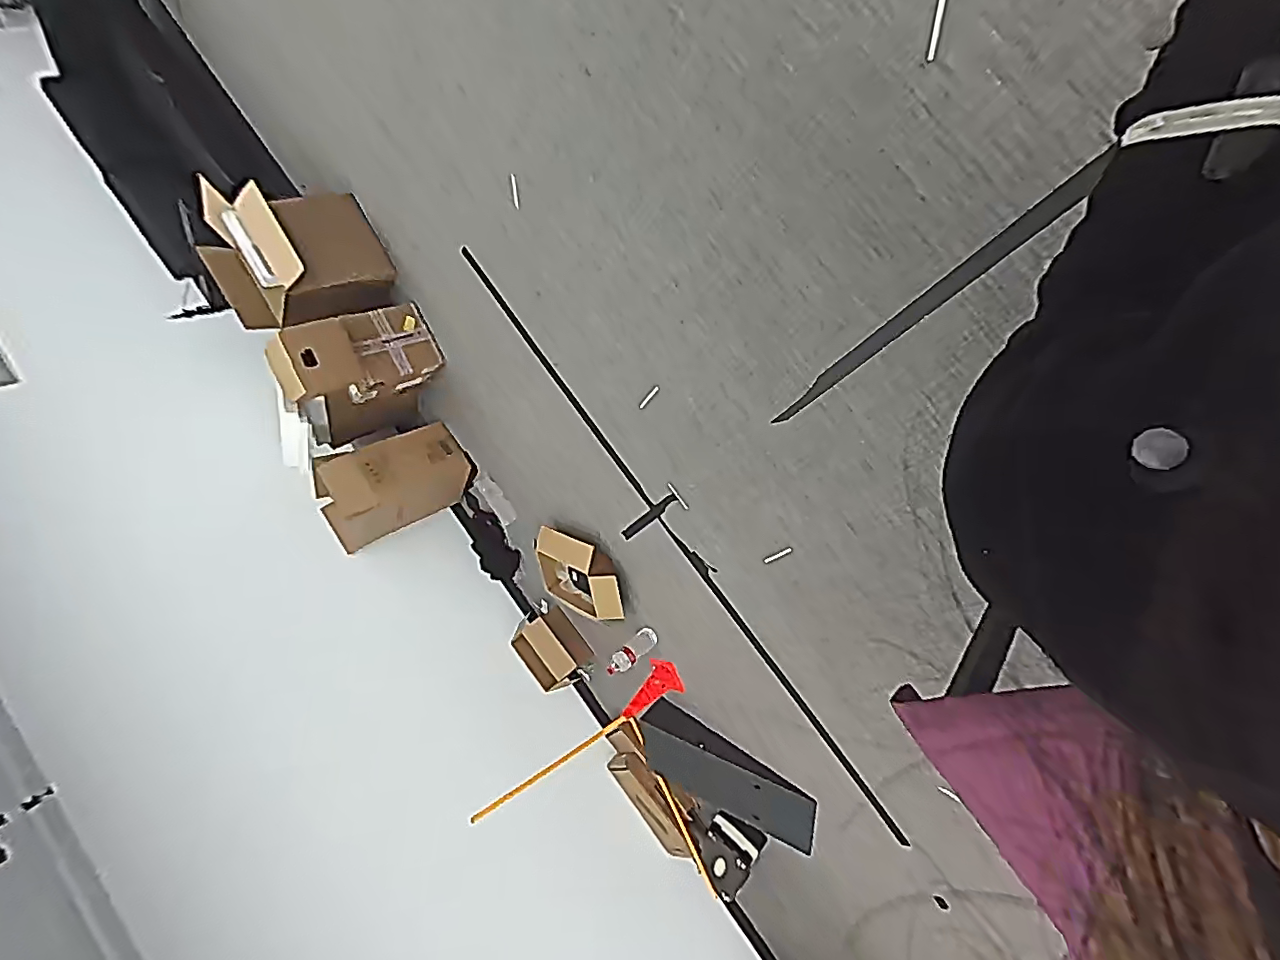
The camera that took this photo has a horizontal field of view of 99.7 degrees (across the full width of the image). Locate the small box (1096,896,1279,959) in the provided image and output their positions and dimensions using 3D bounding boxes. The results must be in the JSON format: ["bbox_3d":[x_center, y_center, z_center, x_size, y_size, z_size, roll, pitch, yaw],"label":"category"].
[{"bbox_3d":[0.617,0.597,0.564,0.179,0.176,0.168,56,142,1],"label":"small box"}]

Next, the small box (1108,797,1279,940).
[{"bbox_3d":[0.731,0.533,0.663,0.179,0.176,0.168,56,142,4],"label":"small box"}]
